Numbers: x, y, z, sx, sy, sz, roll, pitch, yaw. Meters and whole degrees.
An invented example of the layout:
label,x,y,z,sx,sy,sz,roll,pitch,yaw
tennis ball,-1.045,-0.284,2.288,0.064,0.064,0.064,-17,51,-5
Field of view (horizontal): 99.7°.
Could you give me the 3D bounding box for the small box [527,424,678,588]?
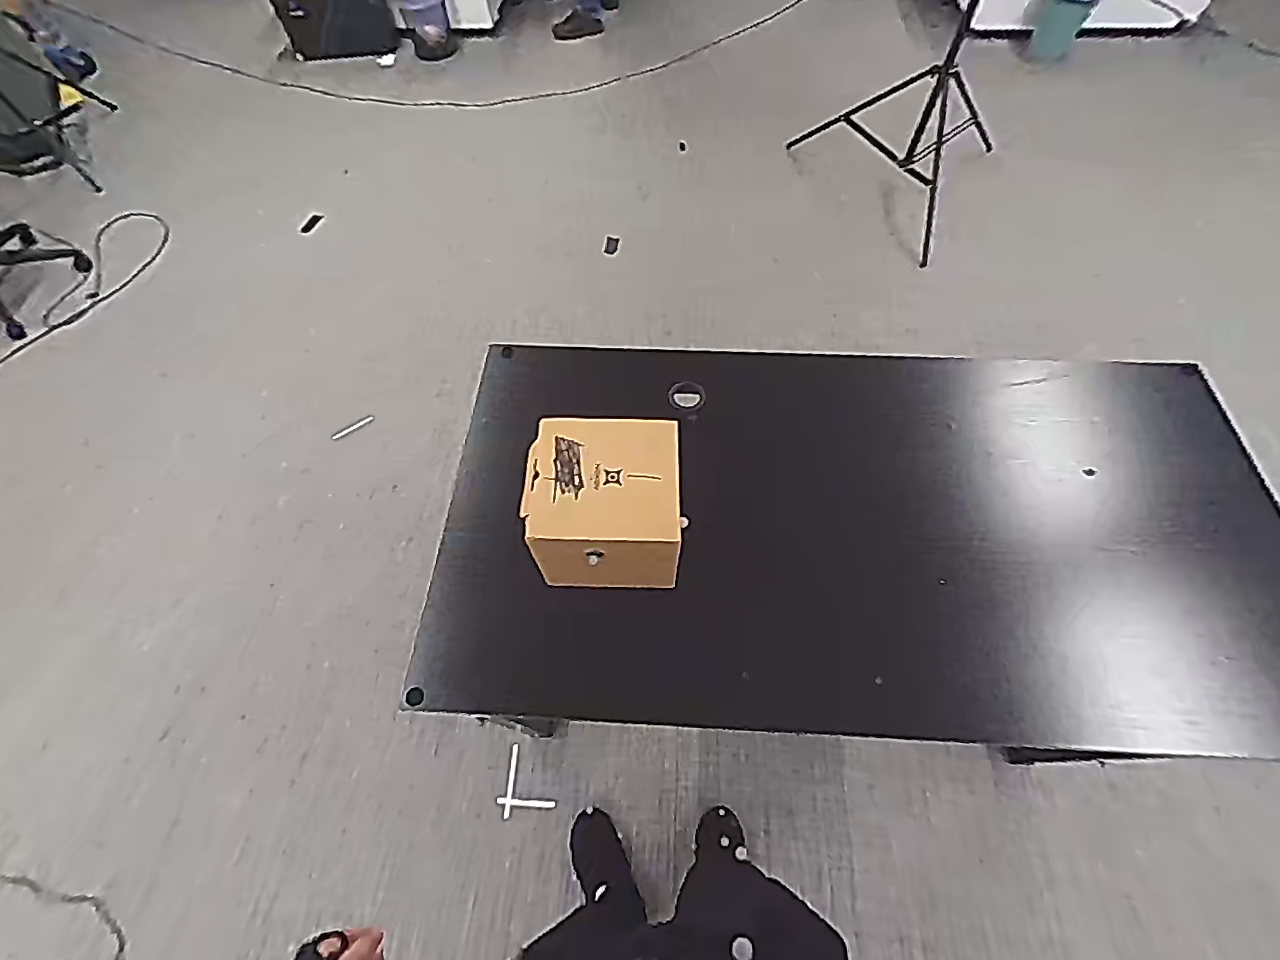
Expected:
label,x,y,z,sx,sy,sz,roll,pitch,yaw
small box,-0.039,0.041,0.722,0.179,0.176,0.168,1,61,1
